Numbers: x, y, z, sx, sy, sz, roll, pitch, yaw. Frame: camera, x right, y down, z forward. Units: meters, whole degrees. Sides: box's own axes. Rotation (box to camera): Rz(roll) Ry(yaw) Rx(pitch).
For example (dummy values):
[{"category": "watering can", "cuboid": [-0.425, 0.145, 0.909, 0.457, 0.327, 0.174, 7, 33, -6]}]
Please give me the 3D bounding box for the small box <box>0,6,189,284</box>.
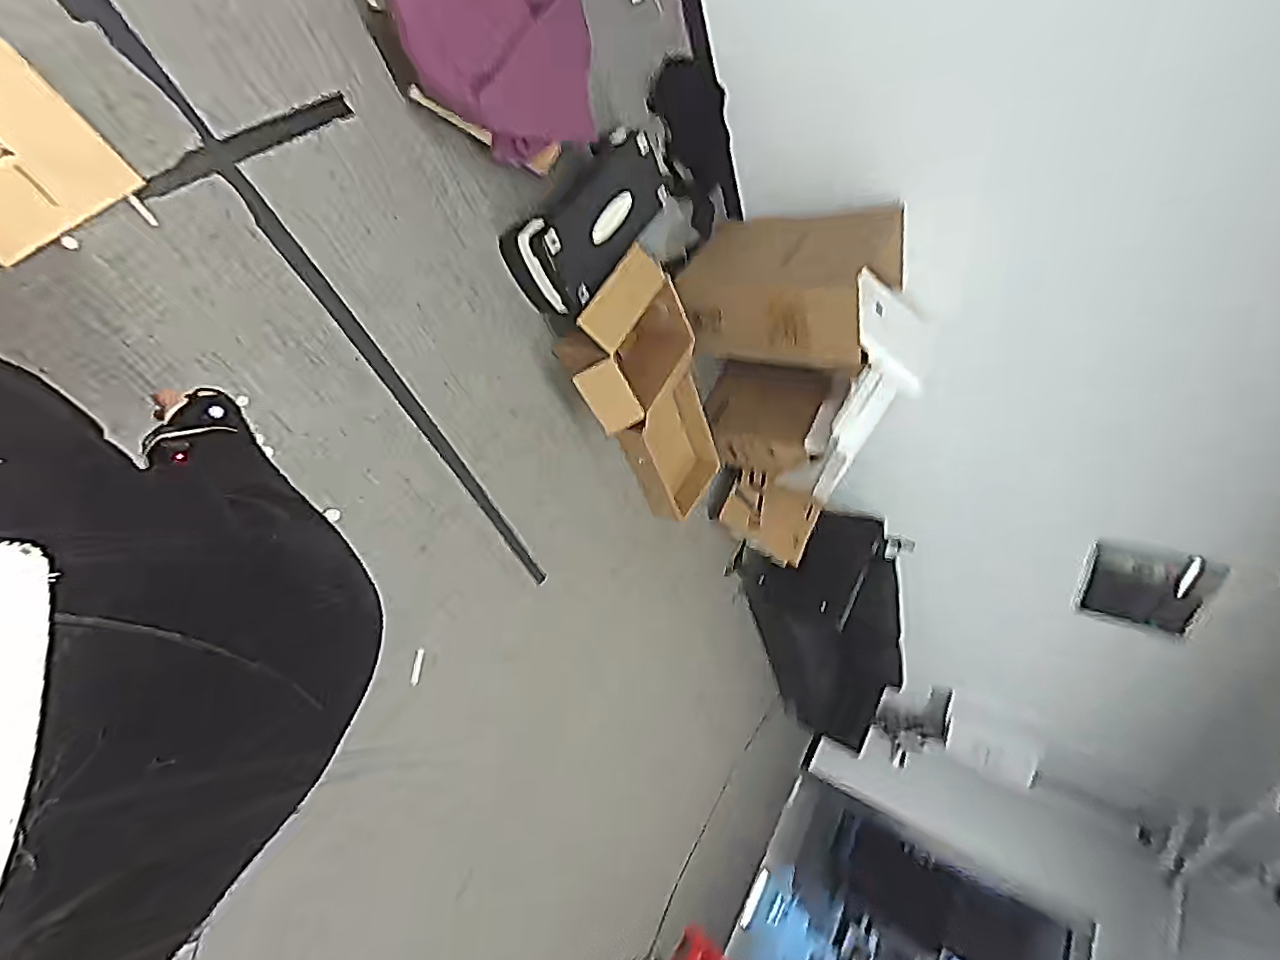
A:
[{"category": "small box", "cuboid": [-0.623, -0.315, 0.540, 0.168, 0.176, 0.179, -56, 141, -24]}]
